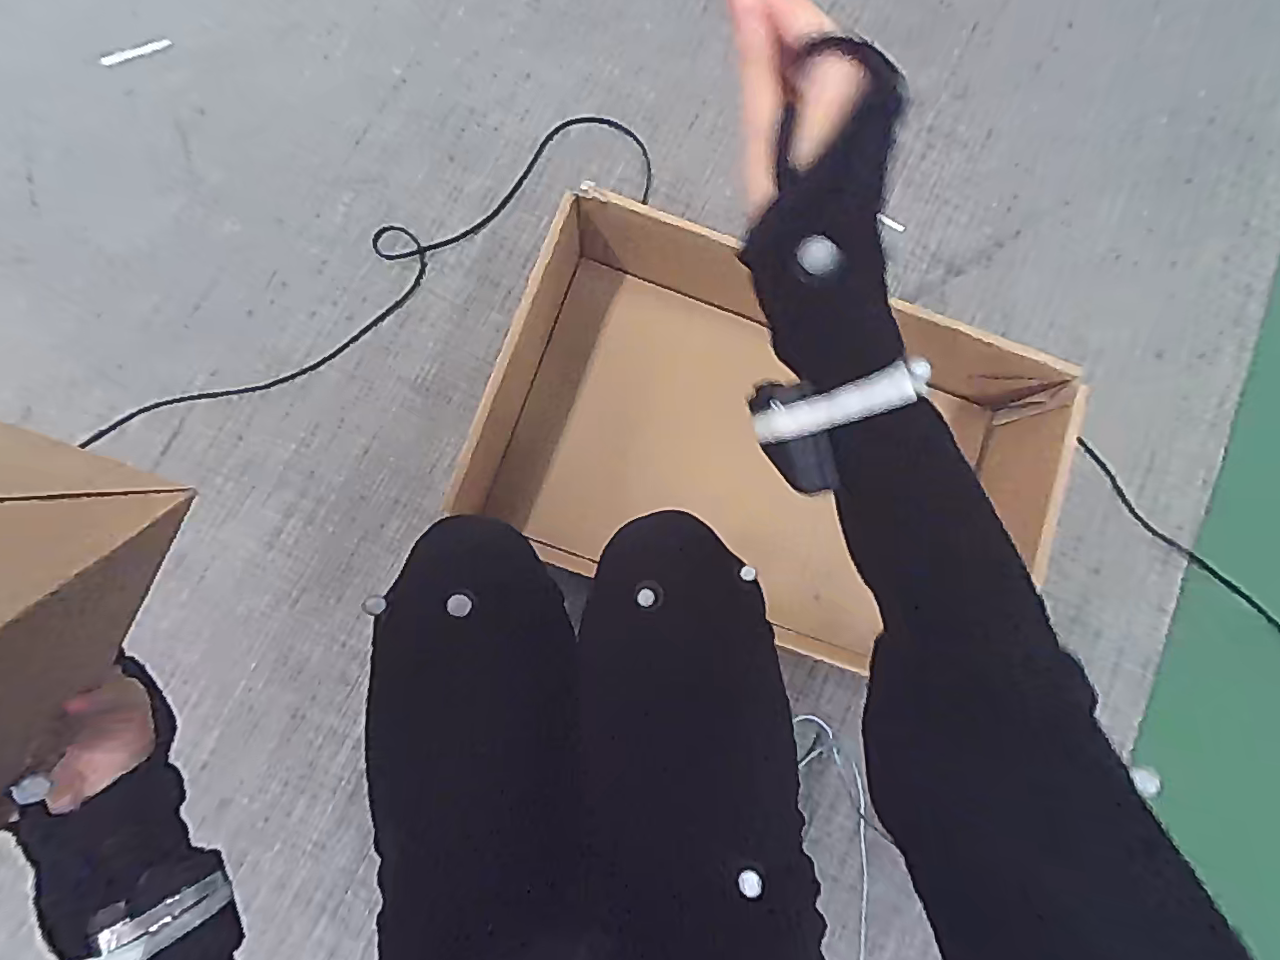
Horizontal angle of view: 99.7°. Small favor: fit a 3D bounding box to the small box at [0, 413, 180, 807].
[{"bbox_3d":[-0.307,0.056,0.178,0.168,0.179,0.176,28,93,-25],"label":"small box"}]
